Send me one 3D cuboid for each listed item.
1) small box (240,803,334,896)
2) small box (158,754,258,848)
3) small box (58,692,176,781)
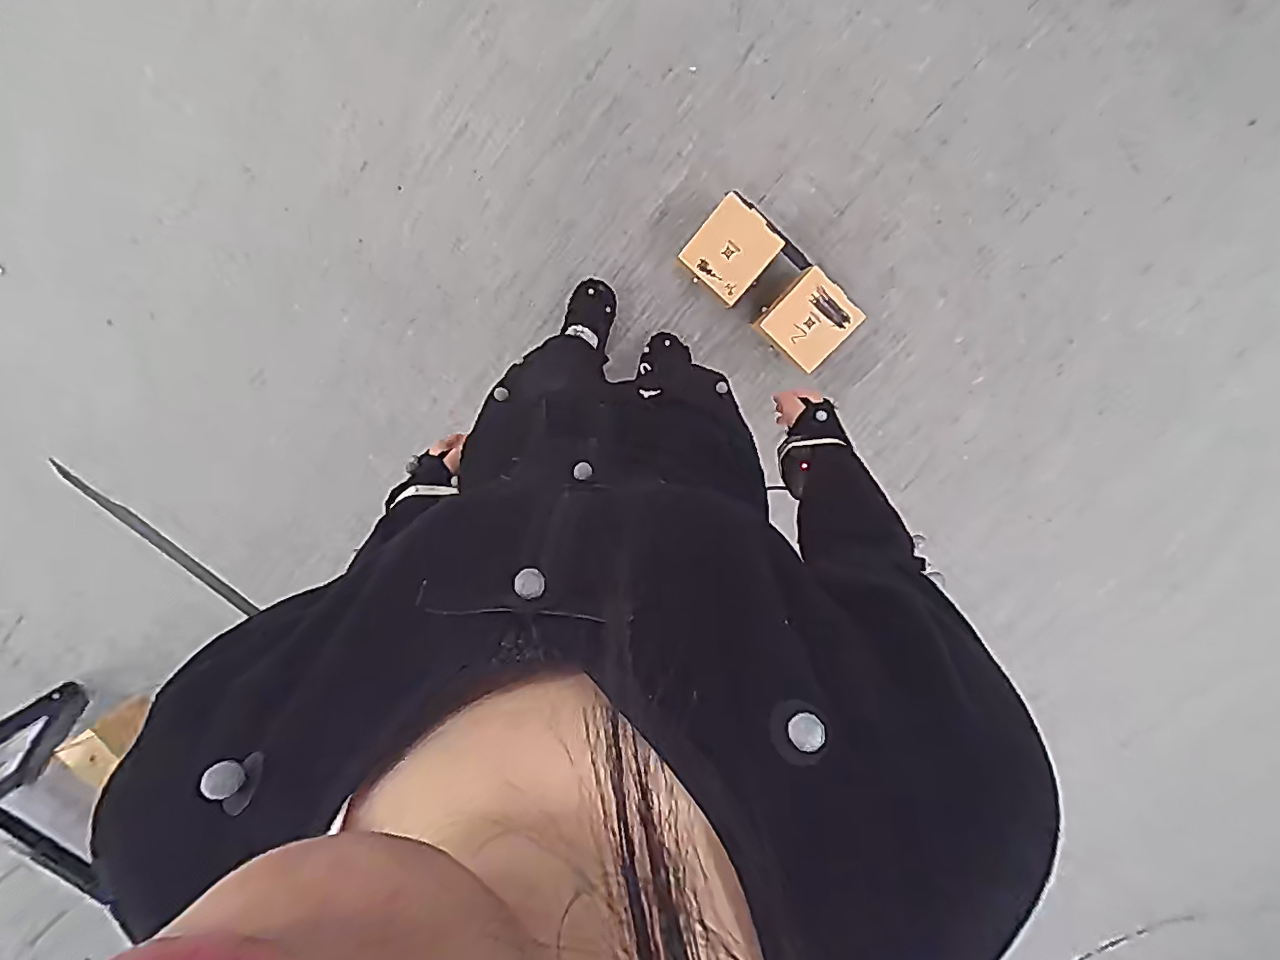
[{"bbox_3d":[-1.200,1.258,1.852,0.179,0.176,0.168,43,102,-8],"label":"small box"},{"bbox_3d":[-1.435,1.068,1.809,0.168,0.176,0.179,41,103,-9],"label":"small box"},{"bbox_3d":[-1.686,0.821,1.753,0.168,0.176,0.179,-29,104,10],"label":"small box"}]
